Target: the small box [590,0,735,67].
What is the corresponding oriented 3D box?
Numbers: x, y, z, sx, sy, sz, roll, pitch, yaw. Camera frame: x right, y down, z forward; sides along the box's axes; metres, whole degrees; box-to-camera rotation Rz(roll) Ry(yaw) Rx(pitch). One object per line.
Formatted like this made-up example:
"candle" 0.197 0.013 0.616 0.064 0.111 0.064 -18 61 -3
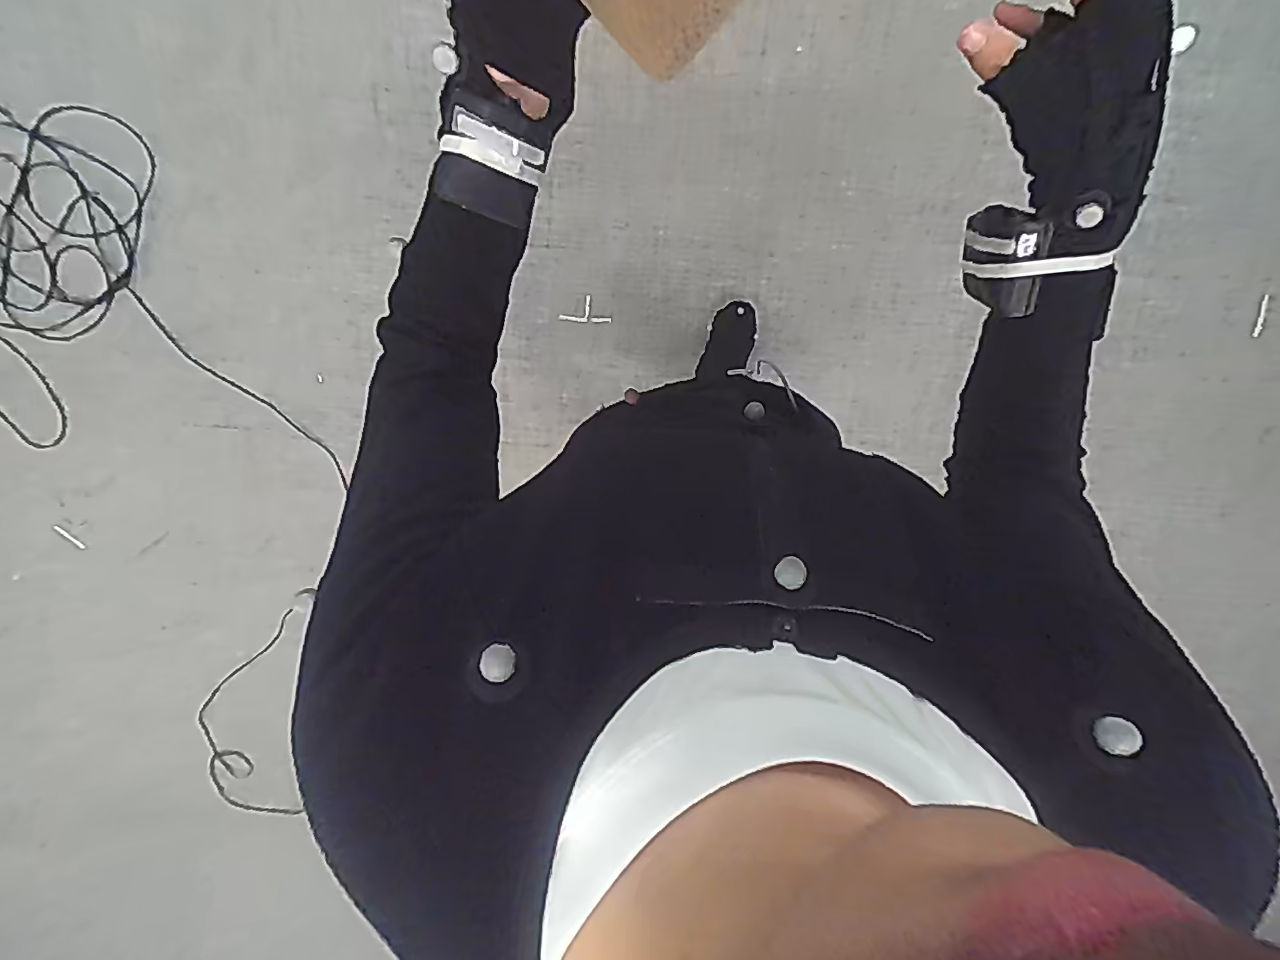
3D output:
"small box" 0.008 -0.293 0.163 0.179 0.176 0.168 -40 92 16
